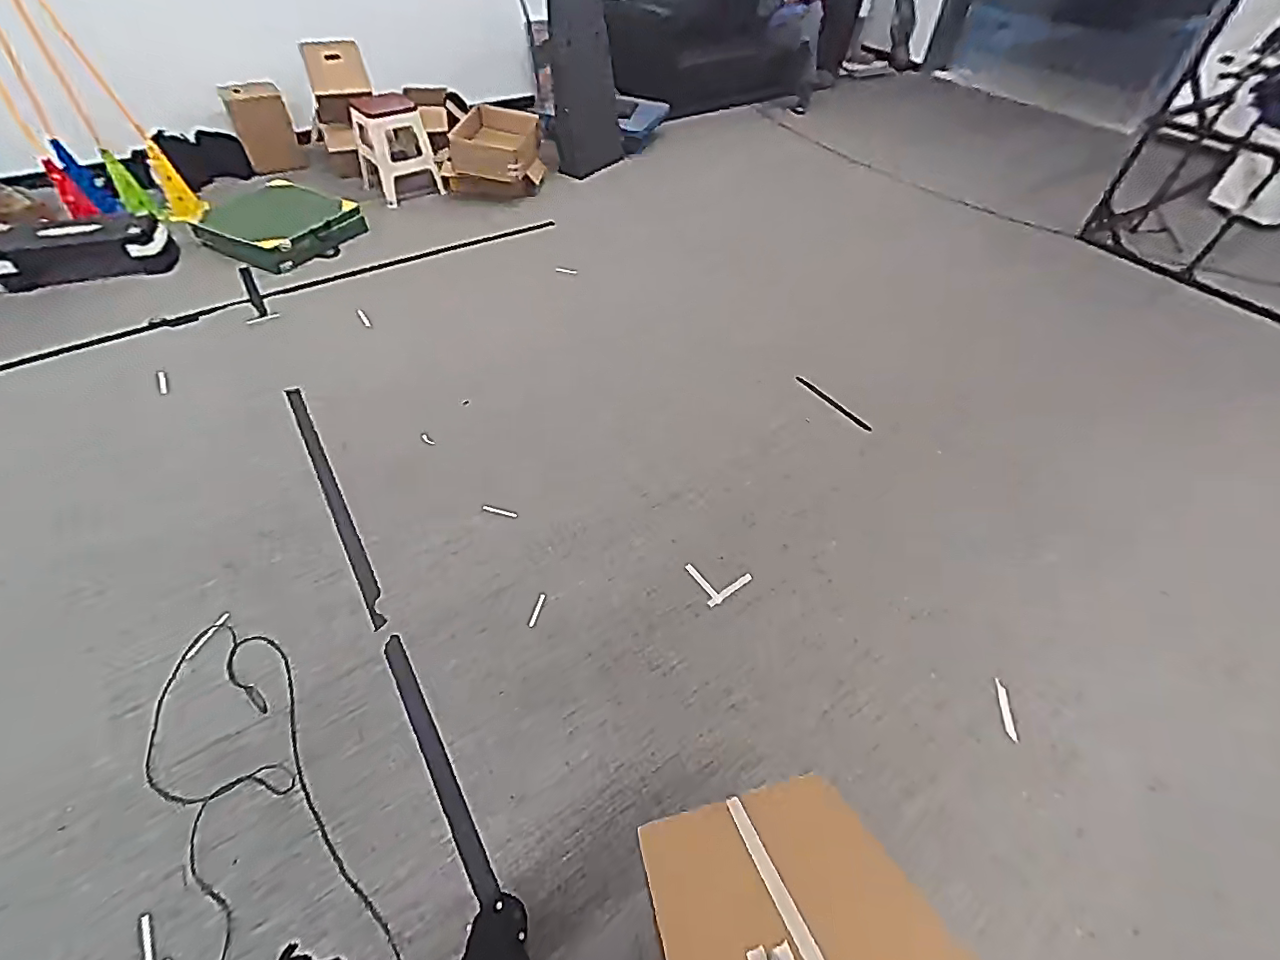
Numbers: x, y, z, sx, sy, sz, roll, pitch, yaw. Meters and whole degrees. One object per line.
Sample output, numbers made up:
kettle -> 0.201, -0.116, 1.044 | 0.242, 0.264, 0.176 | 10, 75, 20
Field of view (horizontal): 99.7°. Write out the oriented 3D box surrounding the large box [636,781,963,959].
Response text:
large box -> 0.202, 0.678, 0.680 | 0.320, 0.320, 0.408 | -12, 7, -9
